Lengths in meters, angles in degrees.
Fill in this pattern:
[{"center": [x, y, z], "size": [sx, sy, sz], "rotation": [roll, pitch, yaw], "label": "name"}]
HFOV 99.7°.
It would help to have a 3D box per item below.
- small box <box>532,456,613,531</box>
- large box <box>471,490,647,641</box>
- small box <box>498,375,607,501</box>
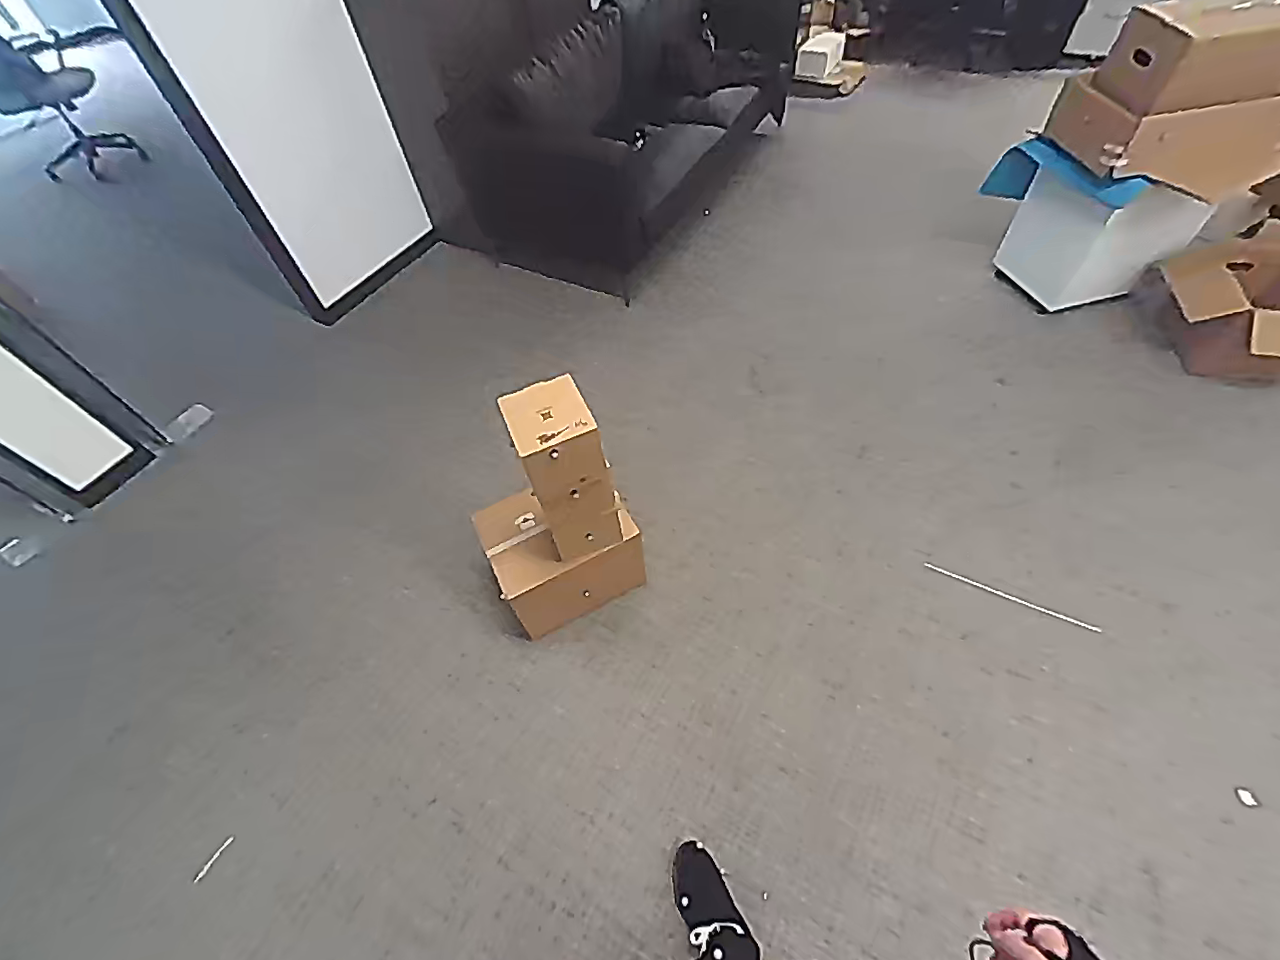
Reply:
[{"center": [-0.172, -0.007, 1.301], "size": [0.179, 0.176, 0.168], "rotation": [-24, 57, -11], "label": "small box"}, {"center": [-0.232, 0.220, 1.646], "size": [0.408, 0.320, 0.320], "rotation": [-27, 55, -13], "label": "large box"}, {"center": [-0.183, -0.087, 1.157], "size": [0.168, 0.176, 0.179], "rotation": [-23, 56, -9], "label": "small box"}]
